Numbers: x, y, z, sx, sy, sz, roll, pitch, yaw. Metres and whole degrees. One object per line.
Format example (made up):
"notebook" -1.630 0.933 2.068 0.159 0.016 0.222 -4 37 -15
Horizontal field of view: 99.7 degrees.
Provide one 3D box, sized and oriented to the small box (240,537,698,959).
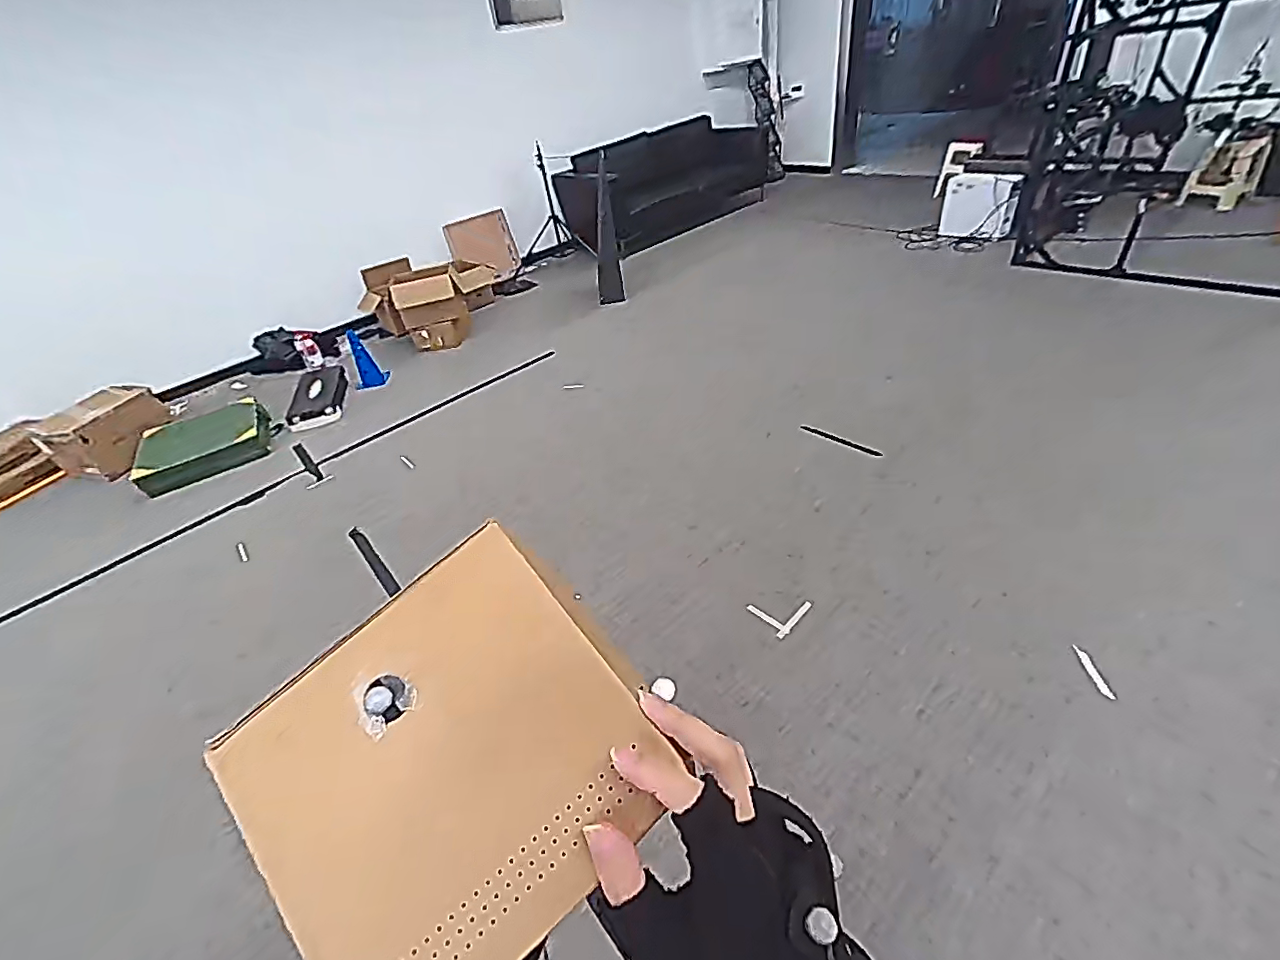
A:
"small box" -0.083 0.168 0.339 0.179 0.168 0.176 -39 73 -10
